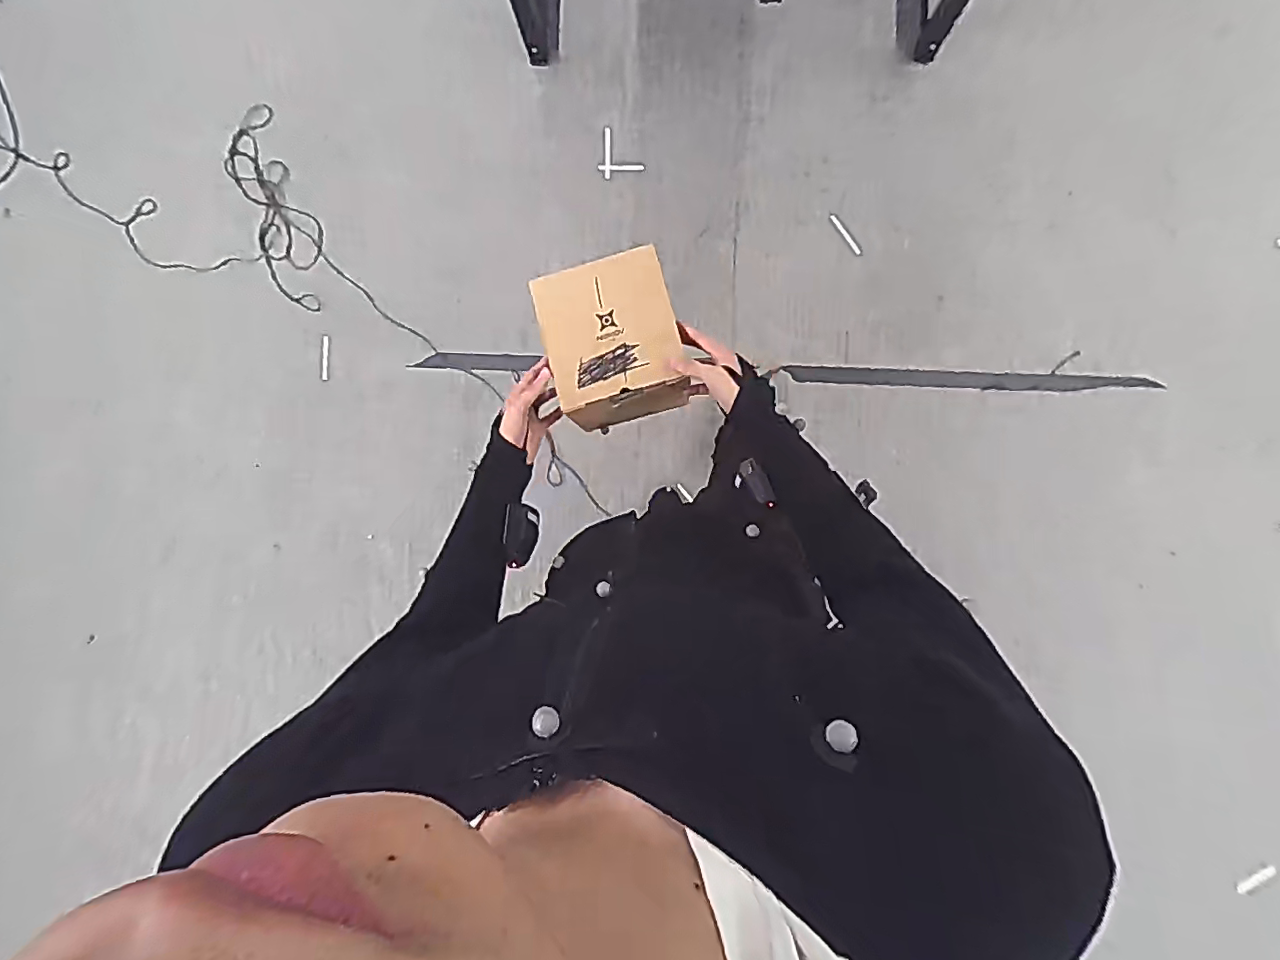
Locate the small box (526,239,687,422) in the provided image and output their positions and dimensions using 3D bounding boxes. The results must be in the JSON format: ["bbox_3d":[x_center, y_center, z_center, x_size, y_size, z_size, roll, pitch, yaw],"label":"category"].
[{"bbox_3d":[-0.035,-0.186,0.738,0.168,0.176,0.179,-16,84,4],"label":"small box"}]

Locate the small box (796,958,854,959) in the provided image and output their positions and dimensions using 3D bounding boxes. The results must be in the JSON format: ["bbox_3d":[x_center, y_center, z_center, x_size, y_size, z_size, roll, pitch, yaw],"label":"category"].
[{"bbox_3d":[0.414,1.159,1.129,0.168,0.176,0.179,-6,90,2],"label":"small box"}]
